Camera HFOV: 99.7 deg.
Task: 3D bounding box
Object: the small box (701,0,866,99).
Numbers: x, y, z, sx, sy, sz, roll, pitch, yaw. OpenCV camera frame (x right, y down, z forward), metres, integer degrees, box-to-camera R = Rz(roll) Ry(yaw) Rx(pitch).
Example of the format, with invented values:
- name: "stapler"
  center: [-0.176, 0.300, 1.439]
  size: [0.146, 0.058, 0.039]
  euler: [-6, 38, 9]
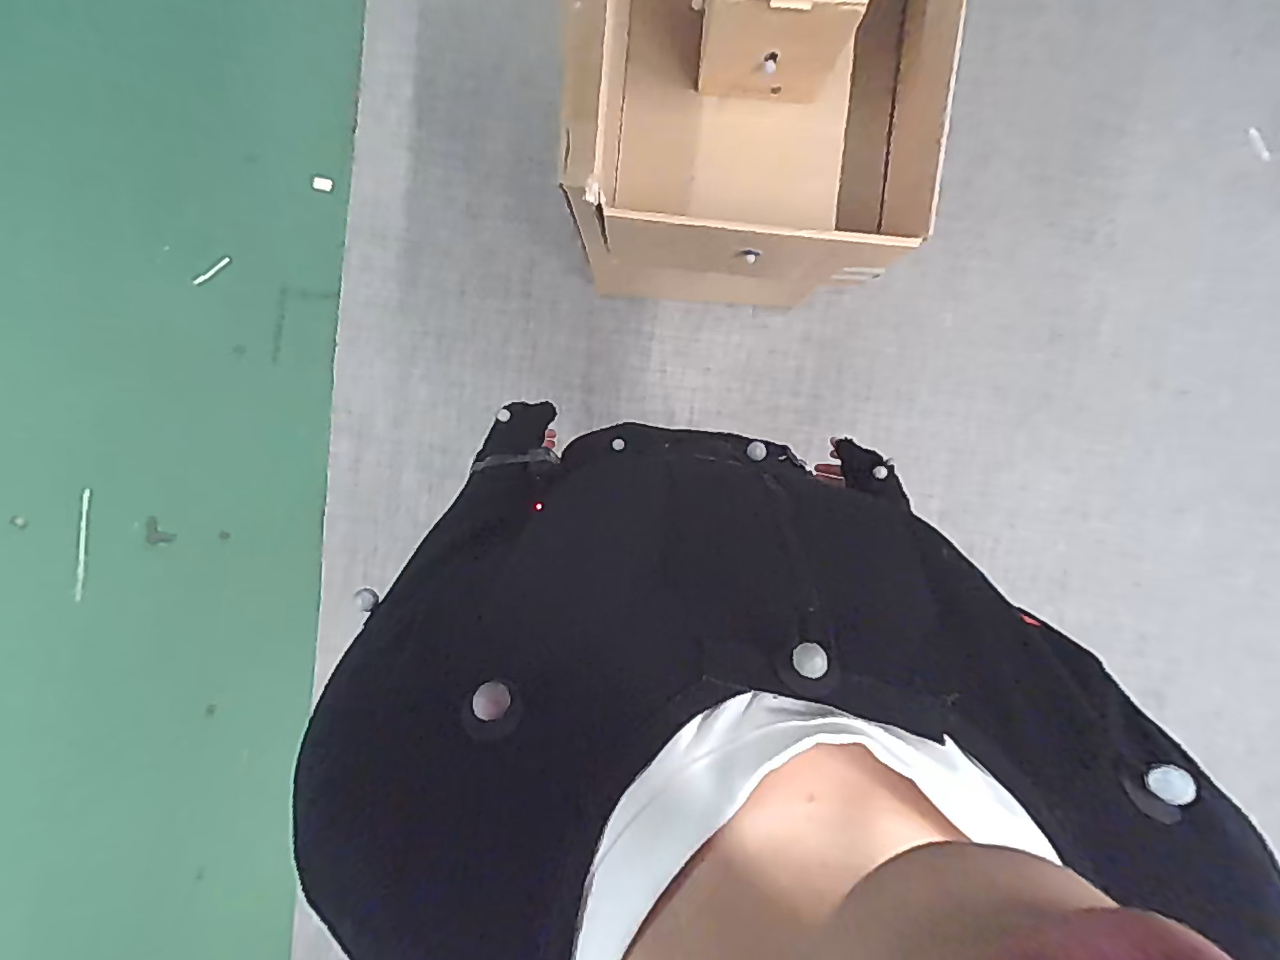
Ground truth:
- name: "small box"
  center: [0.168, -0.596, 0.646]
  size: [0.168, 0.176, 0.179]
  euler: [5, 95, -1]
